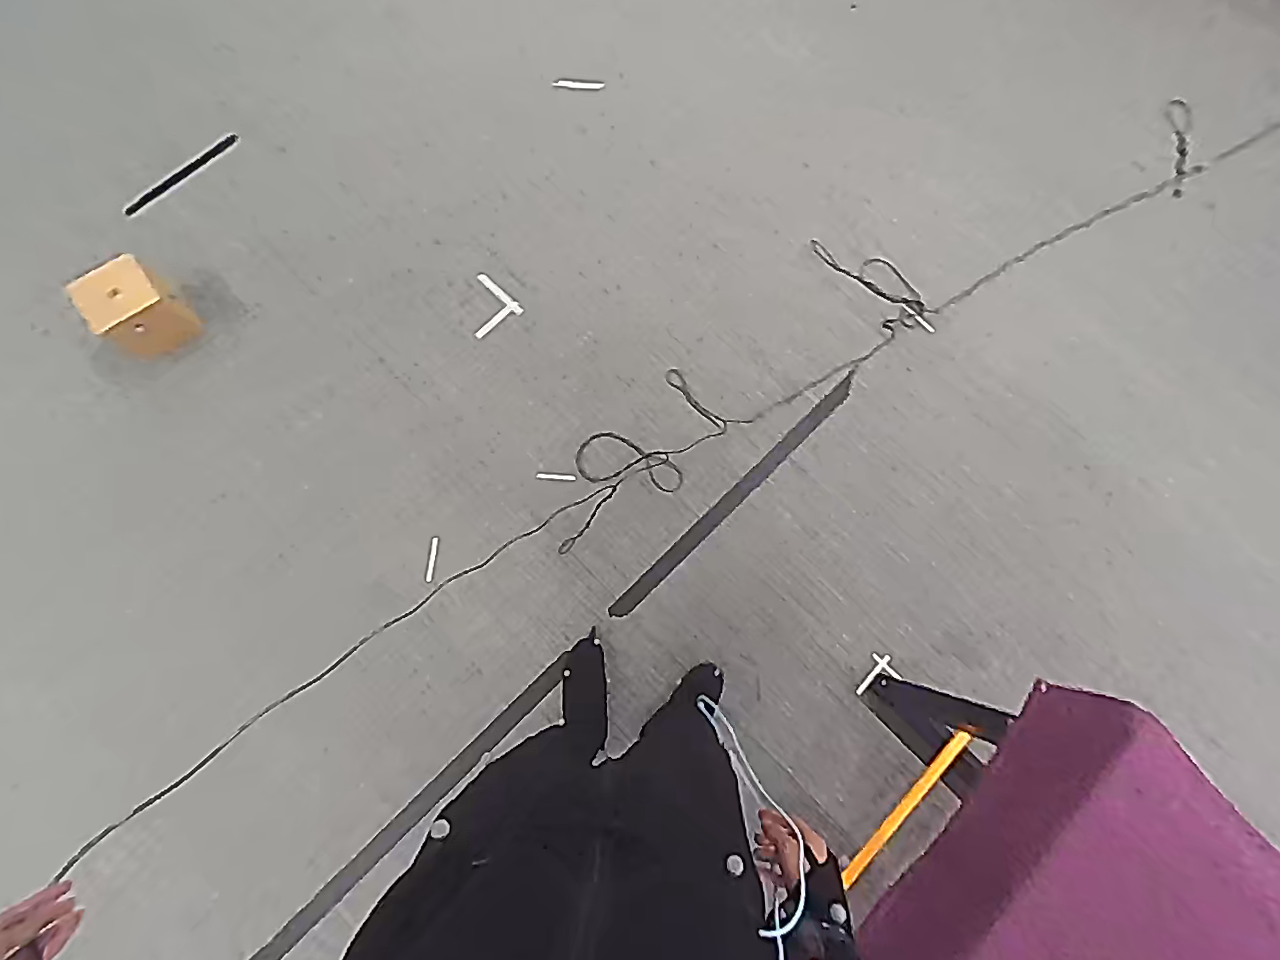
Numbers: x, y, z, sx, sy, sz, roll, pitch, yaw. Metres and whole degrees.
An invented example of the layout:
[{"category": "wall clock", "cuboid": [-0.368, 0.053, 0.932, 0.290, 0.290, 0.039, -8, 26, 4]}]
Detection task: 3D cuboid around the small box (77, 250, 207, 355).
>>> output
[{"category": "small box", "cuboid": [-1.326, -0.473, 1.460, 0.179, 0.176, 0.168, -36, 84, -8]}]
